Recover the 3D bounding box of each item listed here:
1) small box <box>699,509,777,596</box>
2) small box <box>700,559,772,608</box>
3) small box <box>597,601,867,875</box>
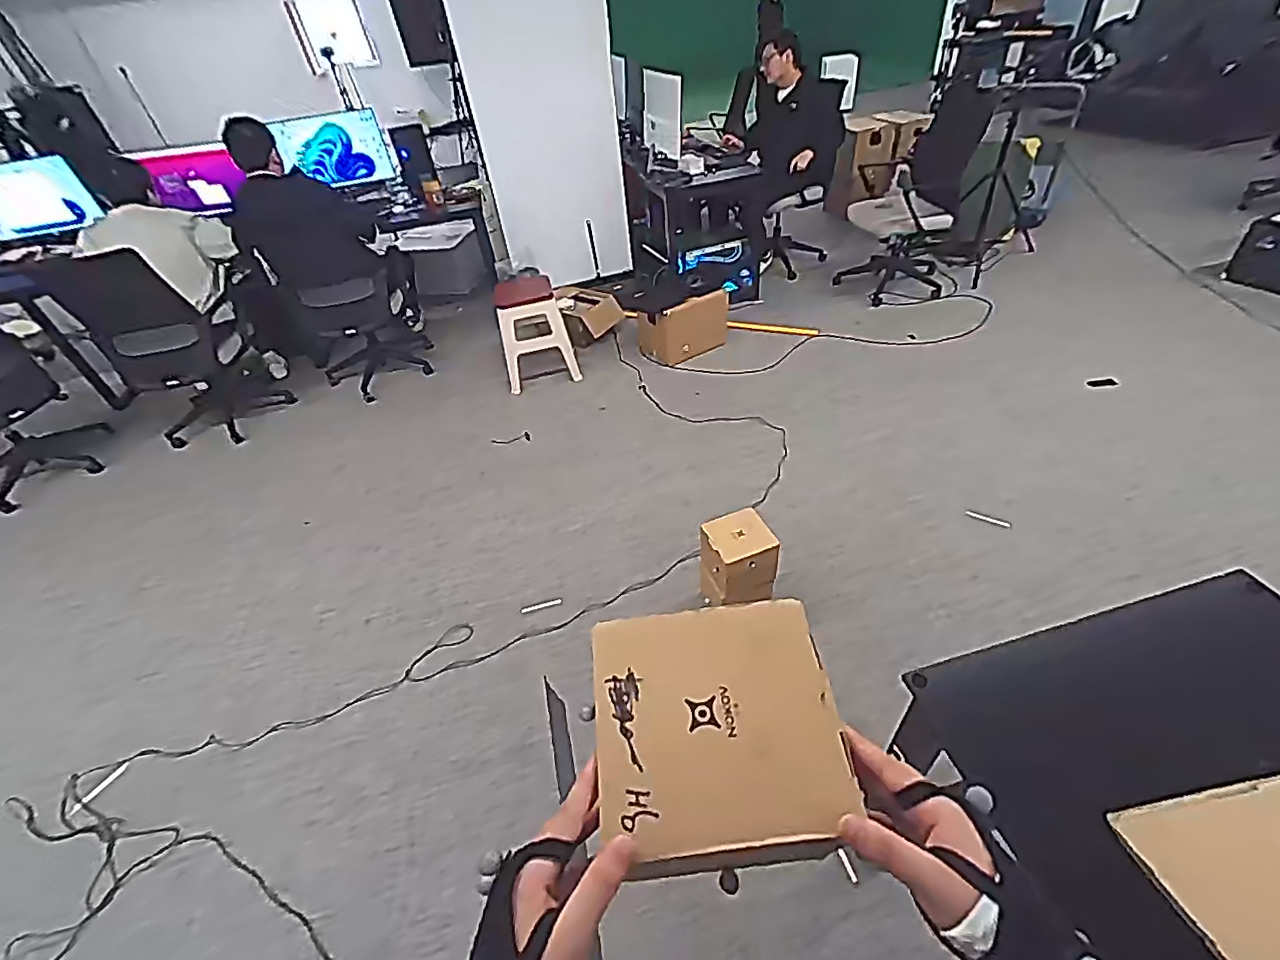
[{"bbox_3d":[0.292,0.221,1.631,0.179,0.176,0.168,-18,43,-12],"label":"small box"},{"bbox_3d":[0.303,0.344,1.738,0.179,0.176,0.168,-17,42,-9],"label":"small box"},{"bbox_3d":[0.059,0.221,0.460,0.179,0.176,0.168,-6,49,-2],"label":"small box"}]
